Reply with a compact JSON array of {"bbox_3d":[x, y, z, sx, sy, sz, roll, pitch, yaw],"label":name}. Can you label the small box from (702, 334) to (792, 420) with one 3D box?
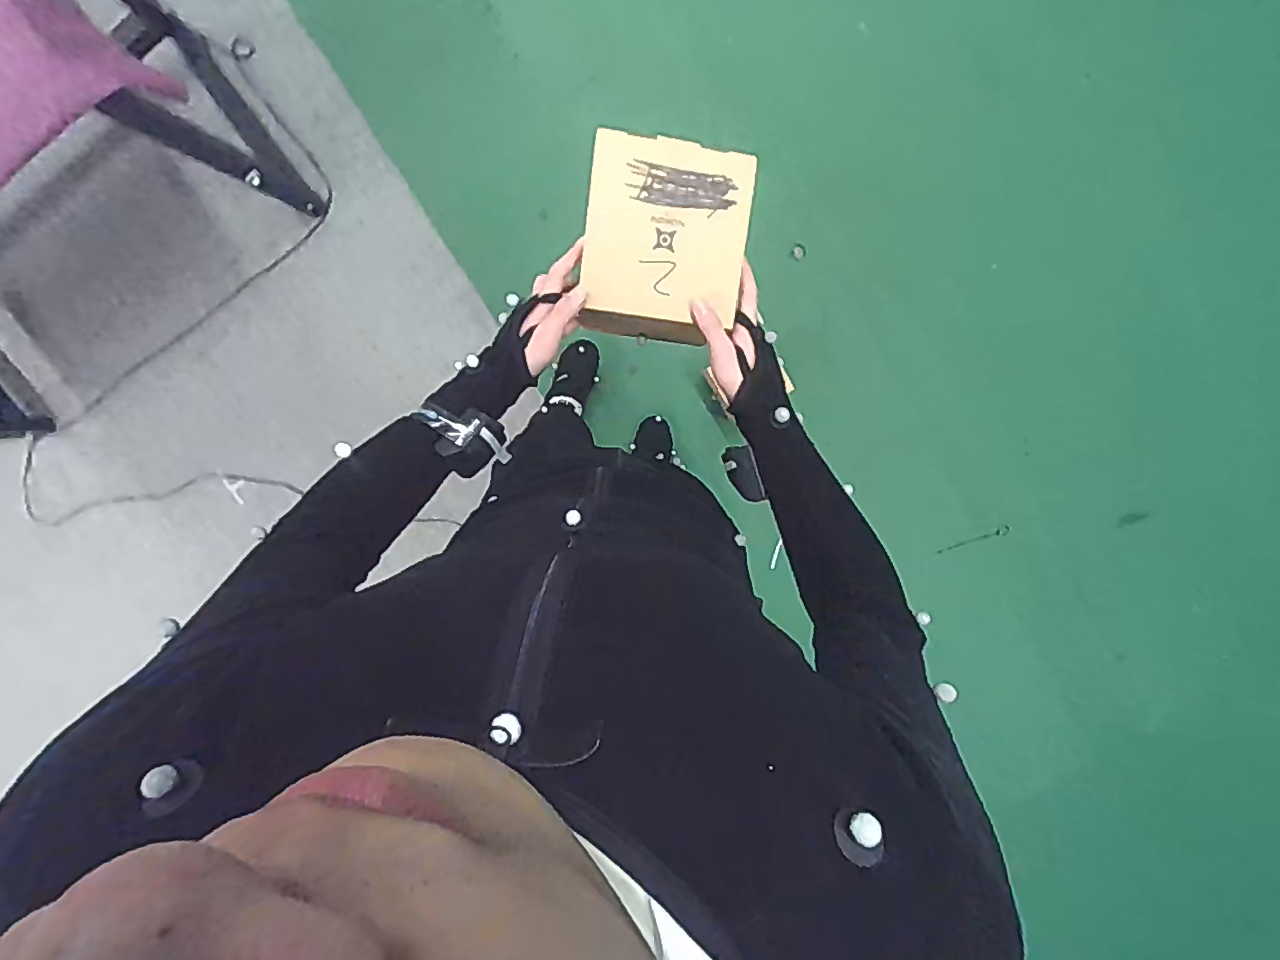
[{"bbox_3d":[0.286,-0.281,1.486,0.179,0.176,0.168,-30,97,7],"label":"small box"}]
